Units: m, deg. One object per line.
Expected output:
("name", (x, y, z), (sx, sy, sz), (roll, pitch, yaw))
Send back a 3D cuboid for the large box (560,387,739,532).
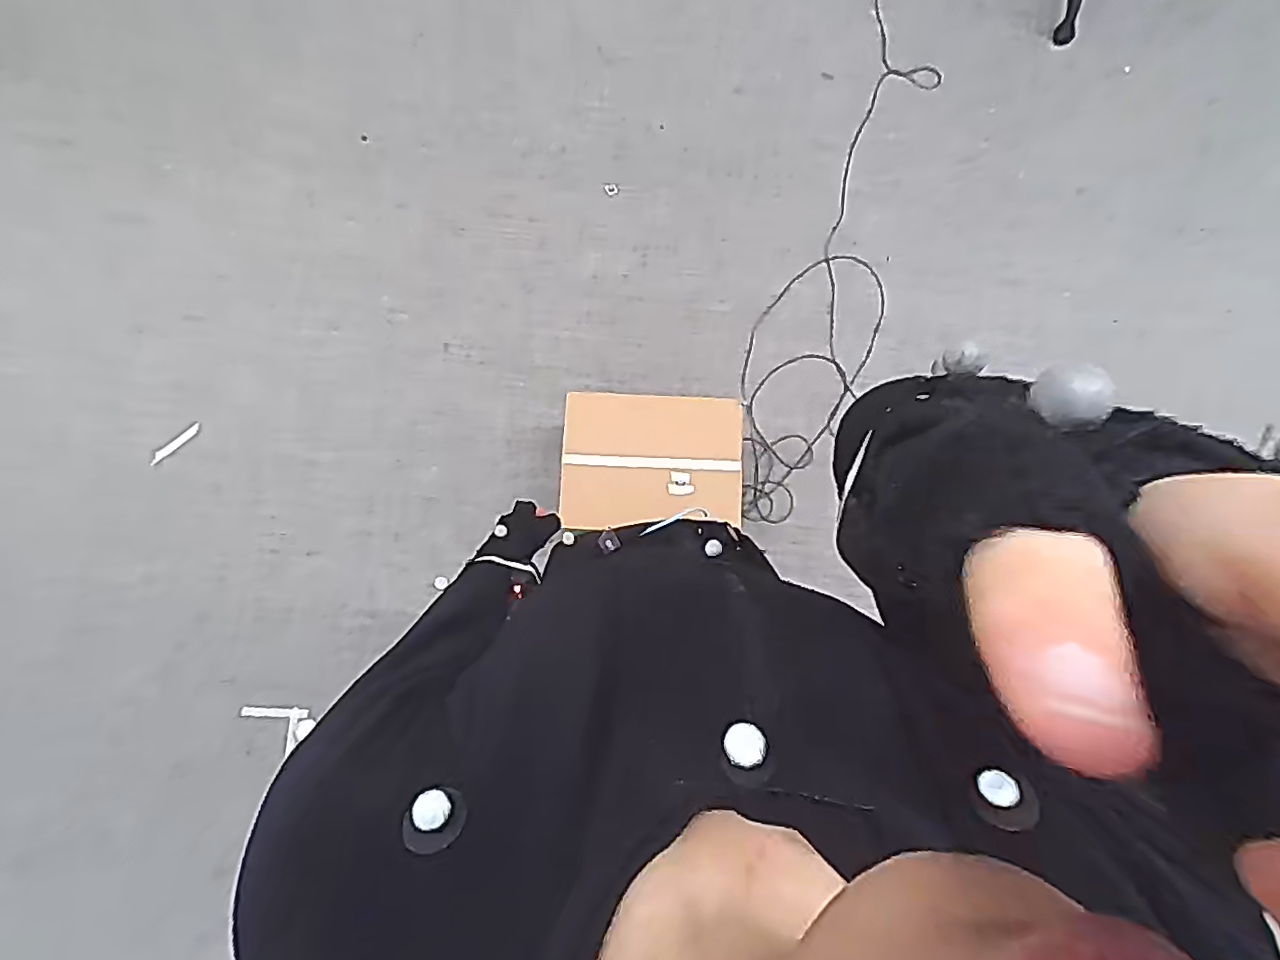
("large box", (0.019, -0.033, 1.370), (0.408, 0.320, 0.320), (3, 83, -1))
